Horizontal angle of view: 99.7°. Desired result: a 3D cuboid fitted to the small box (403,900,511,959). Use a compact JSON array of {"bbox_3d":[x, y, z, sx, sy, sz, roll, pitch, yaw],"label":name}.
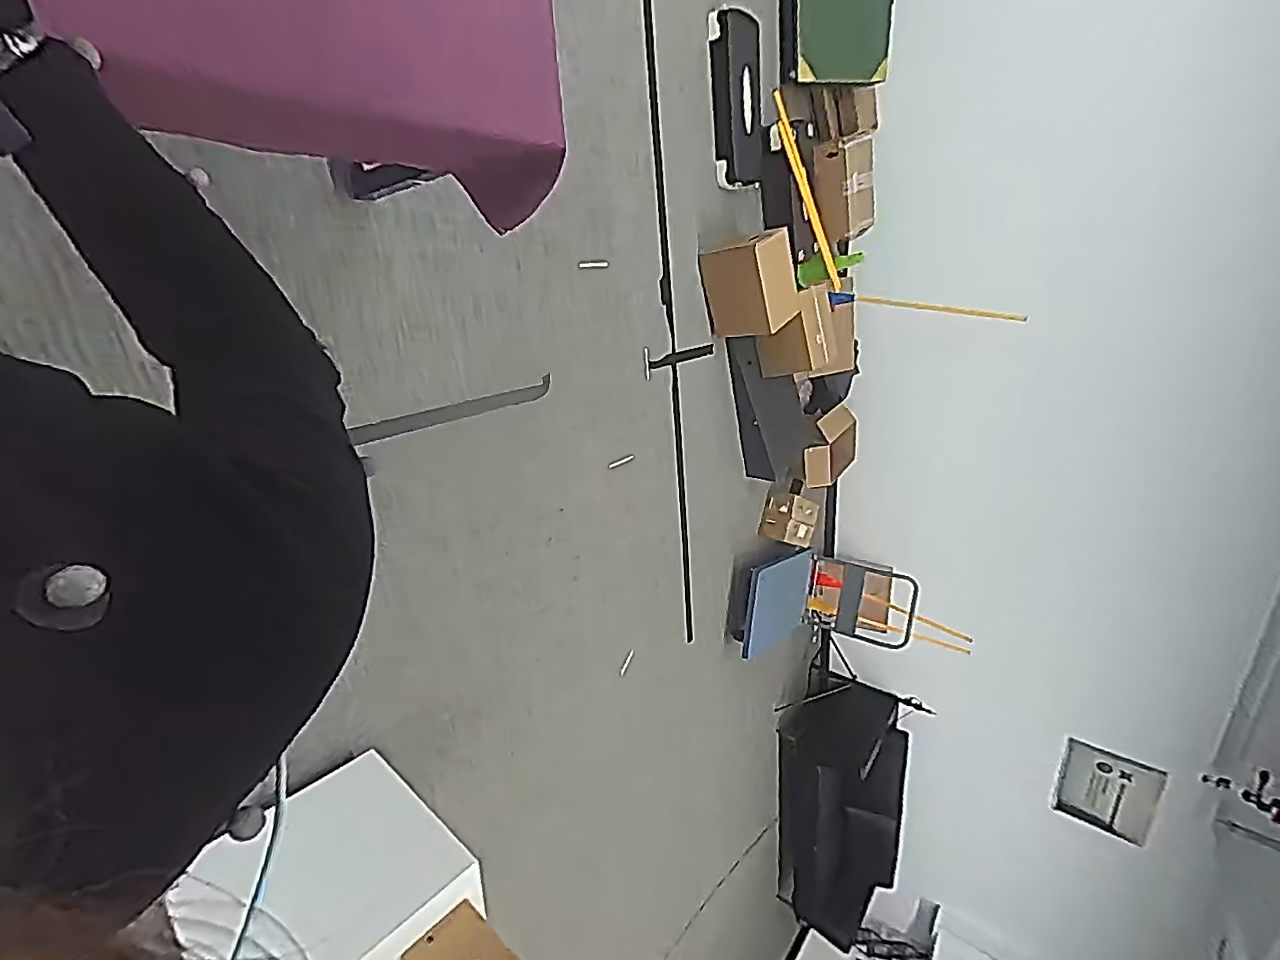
[{"bbox_3d":[-0.399,1.094,1.192,0.168,0.176,0.179,-19,115,-48],"label":"small box"}]
